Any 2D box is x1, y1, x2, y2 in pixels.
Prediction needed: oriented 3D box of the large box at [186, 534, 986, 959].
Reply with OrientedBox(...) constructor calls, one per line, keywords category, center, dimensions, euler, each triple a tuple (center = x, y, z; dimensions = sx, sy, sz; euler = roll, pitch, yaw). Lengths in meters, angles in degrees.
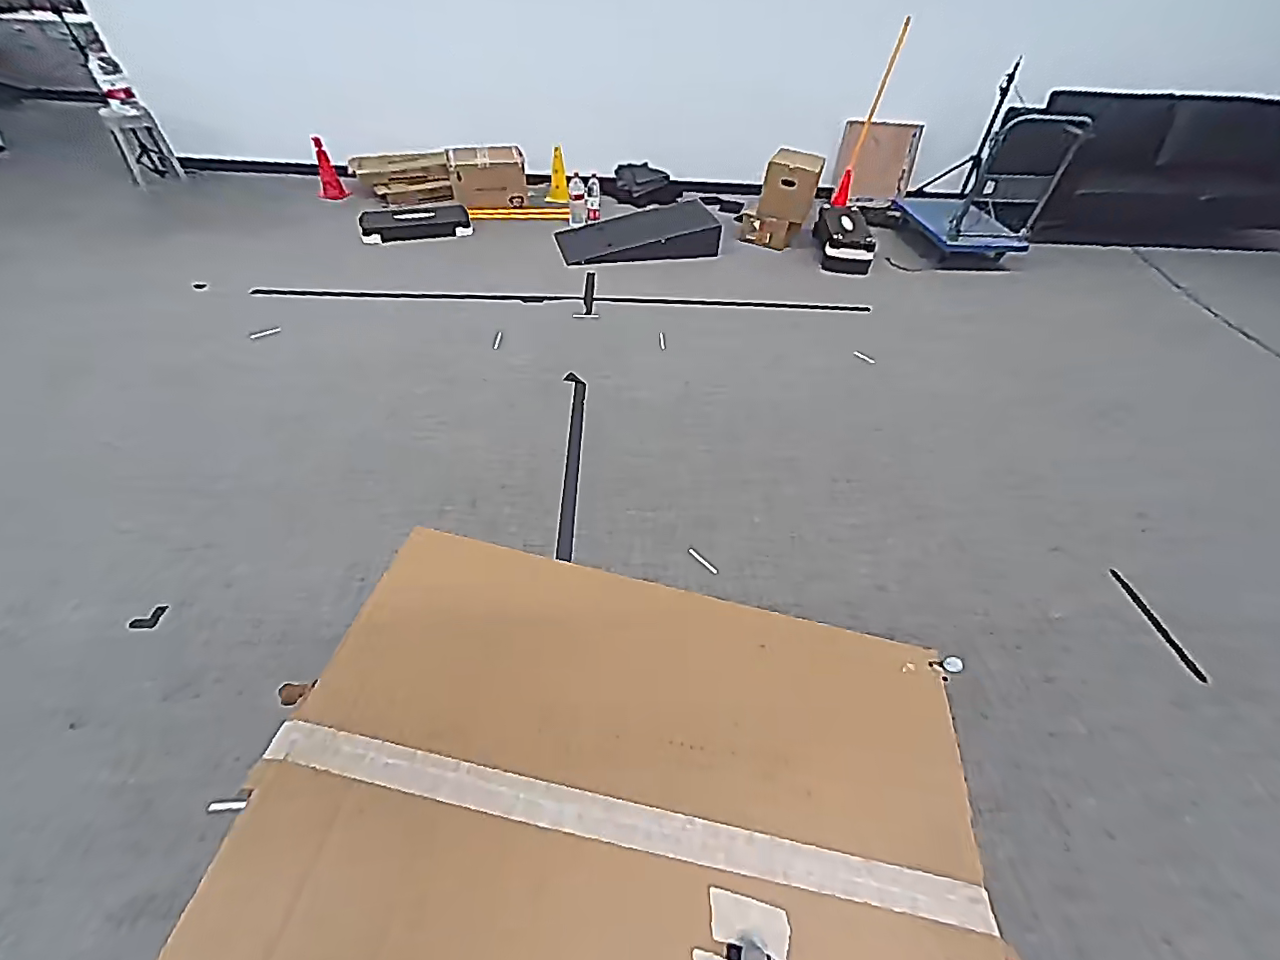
OrientedBox(category="large box", center=(-0.024, 0.292, 0.425), dimensions=(0.408, 0.320, 0.320), euler=(14, 48, 0))
